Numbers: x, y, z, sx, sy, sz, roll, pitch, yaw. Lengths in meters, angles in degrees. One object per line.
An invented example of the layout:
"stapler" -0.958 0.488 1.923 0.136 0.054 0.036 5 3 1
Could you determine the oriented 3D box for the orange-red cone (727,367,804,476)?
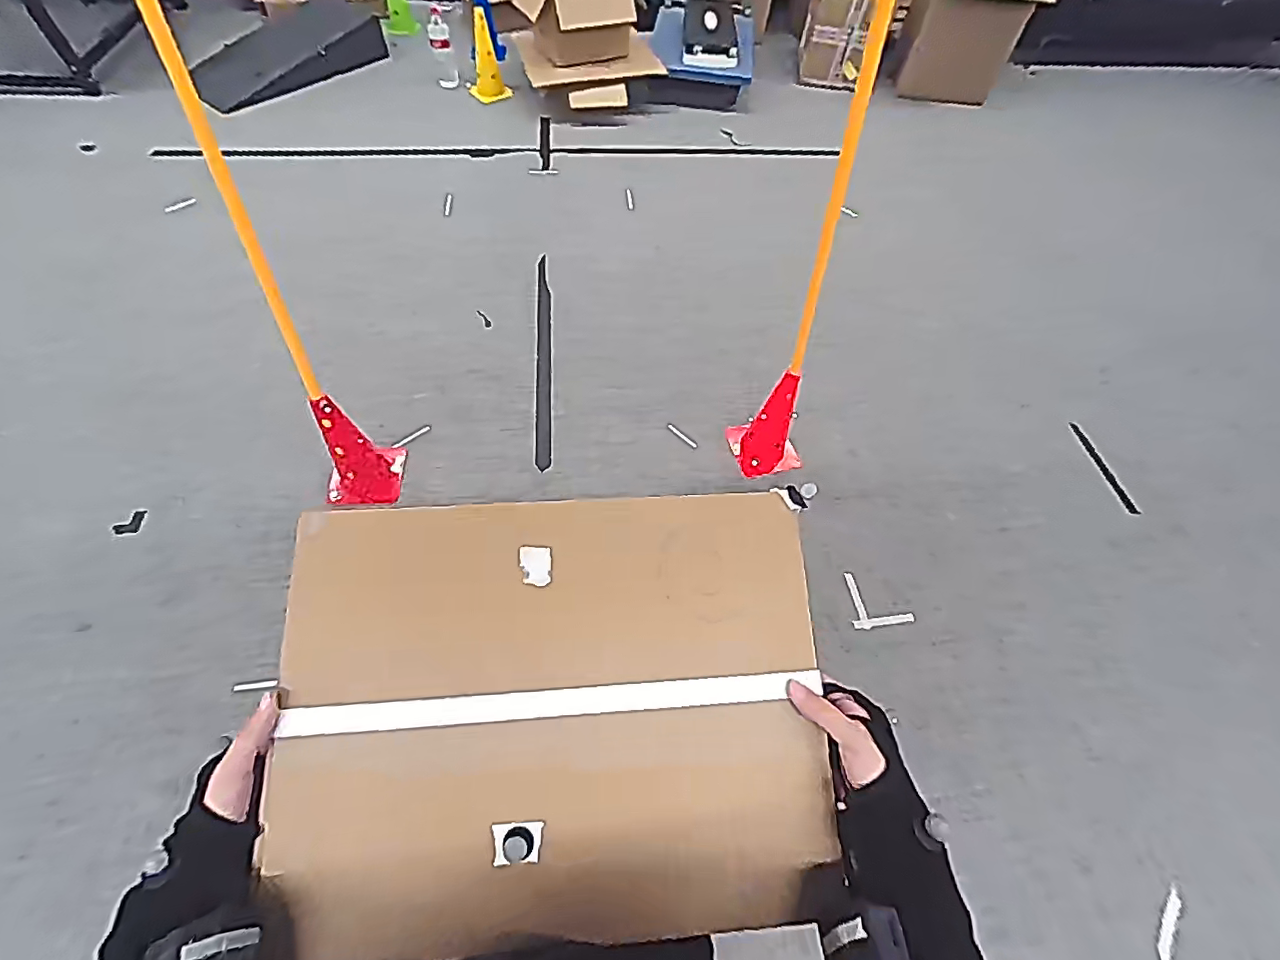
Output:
"orange-red cone" 0.407 -0.196 1.587 0.199 0.360 0.198 -10 60 -12
